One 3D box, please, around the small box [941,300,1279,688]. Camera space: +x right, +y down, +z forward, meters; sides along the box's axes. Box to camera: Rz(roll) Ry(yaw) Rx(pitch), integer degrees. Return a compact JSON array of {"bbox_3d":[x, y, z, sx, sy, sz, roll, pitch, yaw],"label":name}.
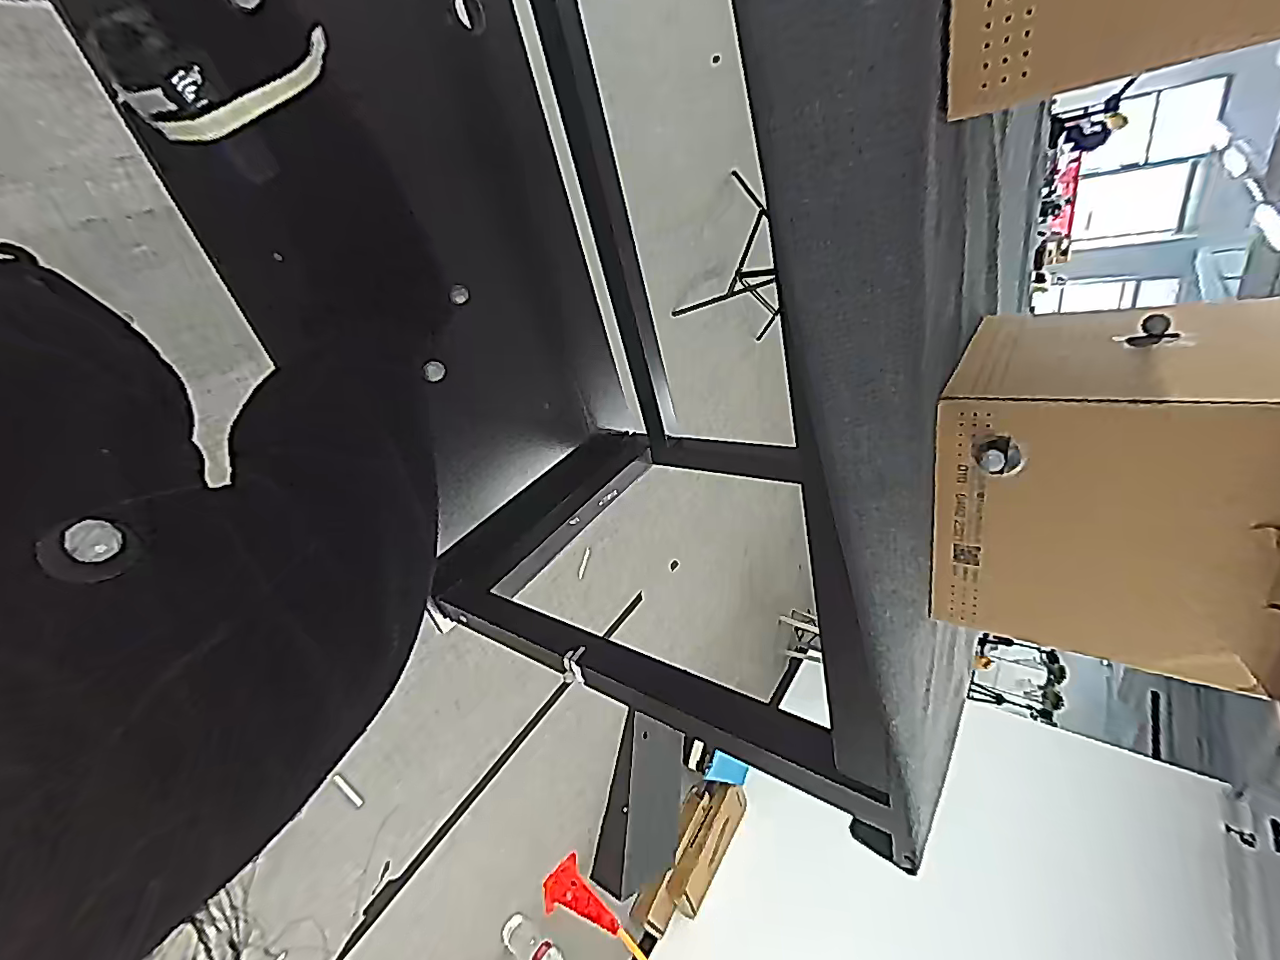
[{"bbox_3d":[0.303,-0.007,0.350,0.179,0.176,0.168,-41,127,-43],"label":"small box"}]
